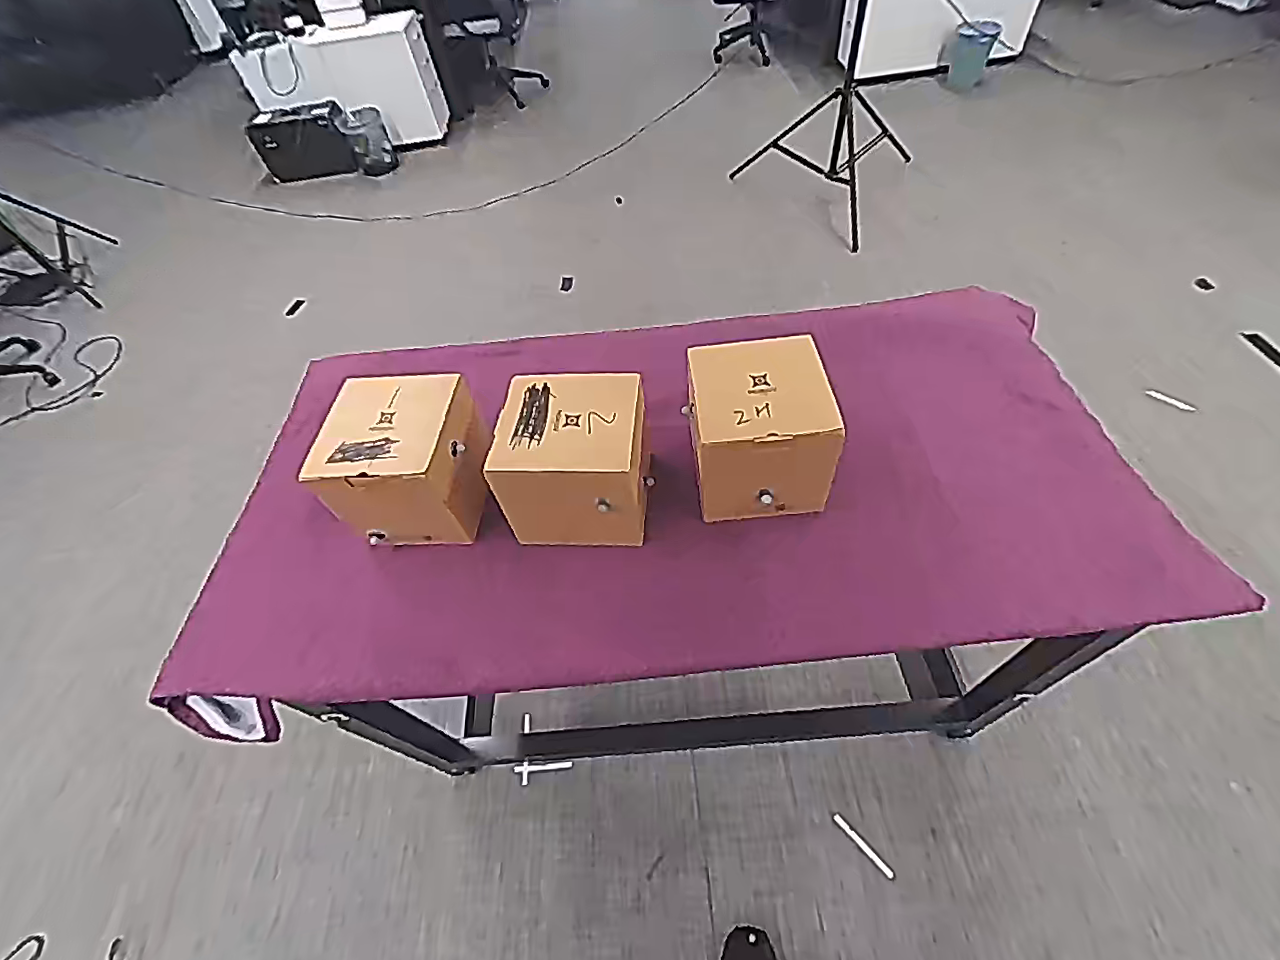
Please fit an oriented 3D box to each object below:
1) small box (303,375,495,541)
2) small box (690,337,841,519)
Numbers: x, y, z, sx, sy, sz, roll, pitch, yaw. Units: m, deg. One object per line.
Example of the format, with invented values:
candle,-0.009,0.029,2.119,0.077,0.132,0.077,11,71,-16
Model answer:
small box,-0.320,-0.024,0.763,0.168,0.176,0.179,-1,53,6
small box,0.156,-0.067,0.737,0.168,0.176,0.179,-6,52,4
